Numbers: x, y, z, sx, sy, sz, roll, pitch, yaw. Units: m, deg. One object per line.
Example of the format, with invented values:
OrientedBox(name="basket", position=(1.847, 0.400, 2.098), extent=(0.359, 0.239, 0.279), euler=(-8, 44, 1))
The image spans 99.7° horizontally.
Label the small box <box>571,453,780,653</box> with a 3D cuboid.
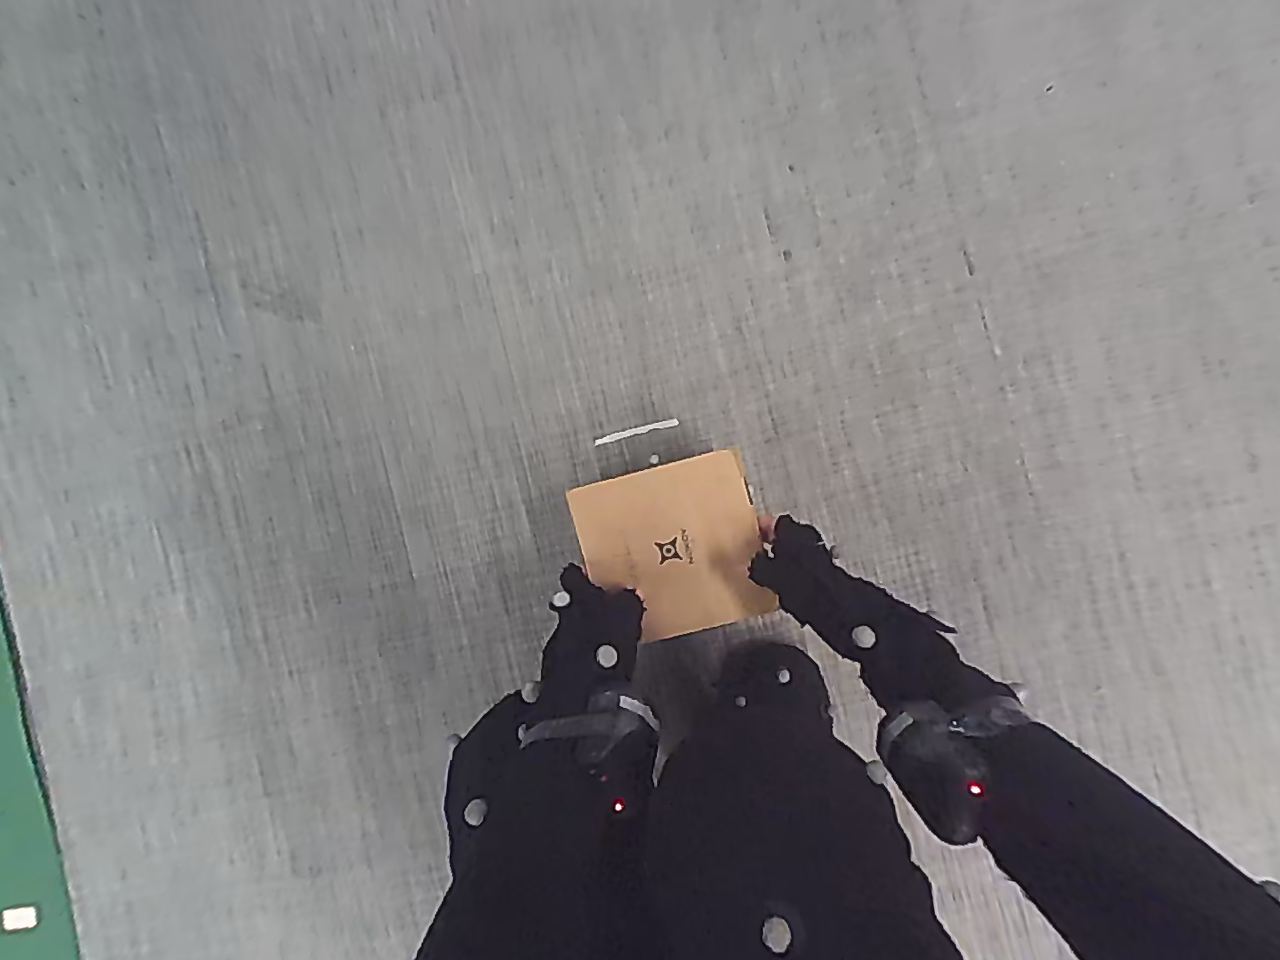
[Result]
OrientedBox(name="small box", position=(0.040, 0.073, 0.610), extent=(0.179, 0.176, 0.168), euler=(-16, 87, 5))
